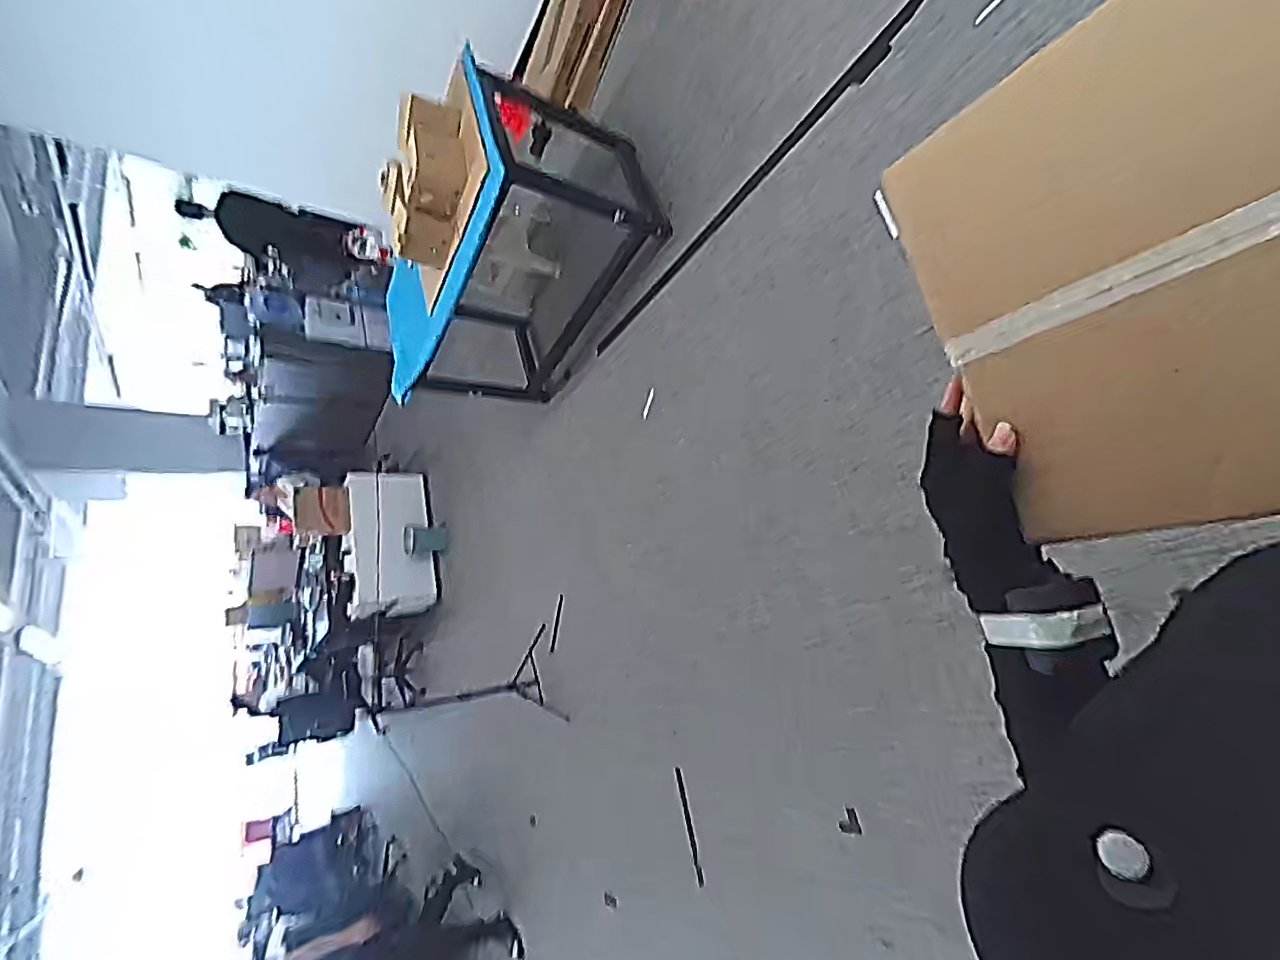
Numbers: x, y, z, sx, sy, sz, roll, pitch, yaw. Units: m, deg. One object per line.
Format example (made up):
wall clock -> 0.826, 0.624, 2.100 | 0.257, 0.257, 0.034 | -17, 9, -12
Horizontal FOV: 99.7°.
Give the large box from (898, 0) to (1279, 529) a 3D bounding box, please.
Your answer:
large box -> 0.477, -0.185, 0.361 | 0.408, 0.320, 0.320 | -24, 84, 53
